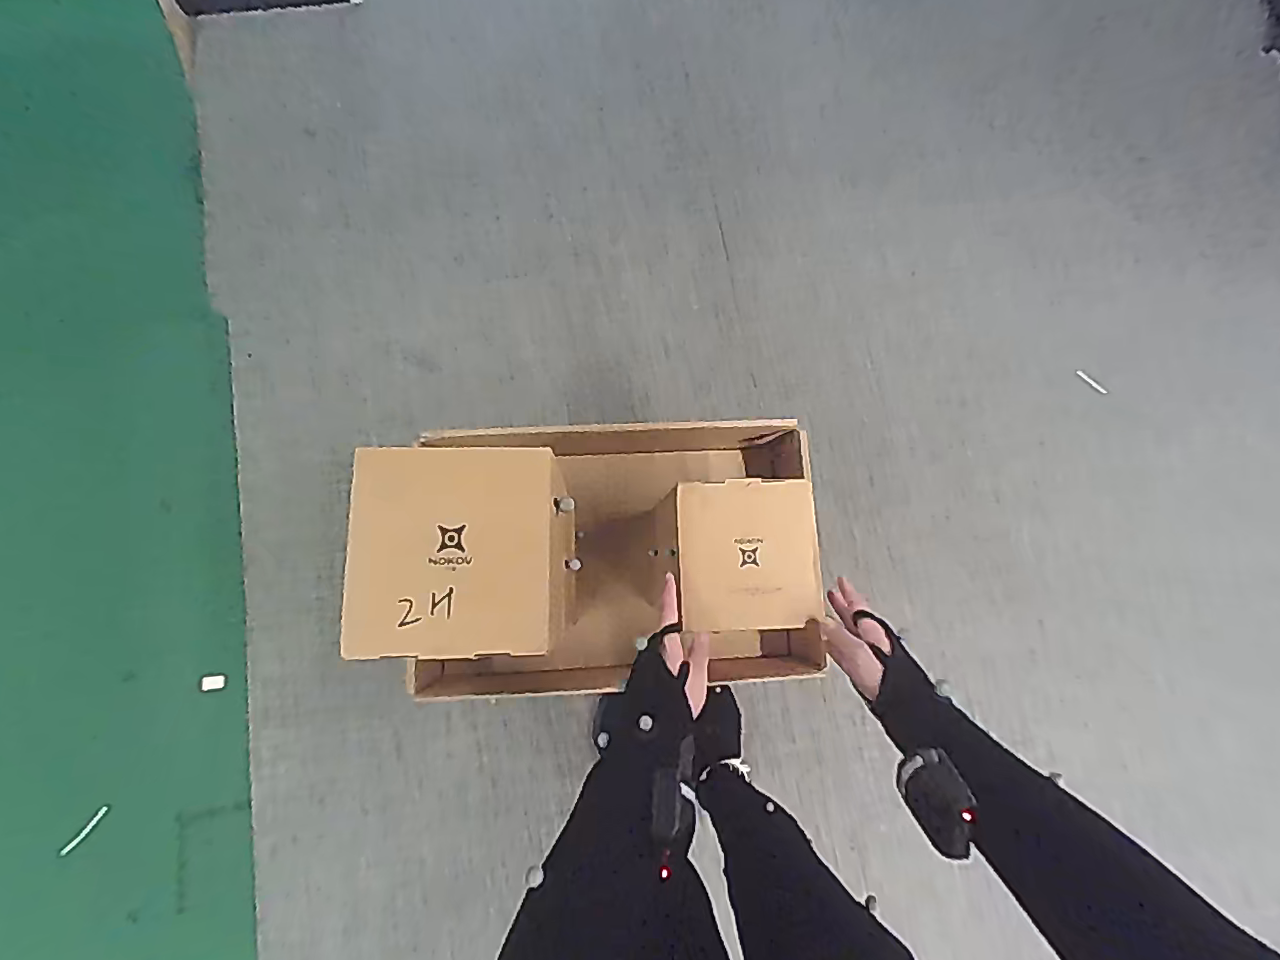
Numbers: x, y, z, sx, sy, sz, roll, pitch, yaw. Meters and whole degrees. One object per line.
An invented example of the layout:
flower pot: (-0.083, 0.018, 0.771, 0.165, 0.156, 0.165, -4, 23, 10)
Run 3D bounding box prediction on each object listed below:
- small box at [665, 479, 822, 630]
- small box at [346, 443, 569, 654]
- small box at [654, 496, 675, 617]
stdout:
small box: (0.123, 0.099, 0.709, 0.168, 0.176, 0.179, -1, 81, -3)
small box: (-0.159, 0.070, 0.529, 0.168, 0.176, 0.179, 1, 80, -3)
small box: (0.112, 0.123, 0.870, 0.168, 0.176, 0.179, -1, 79, -4)
